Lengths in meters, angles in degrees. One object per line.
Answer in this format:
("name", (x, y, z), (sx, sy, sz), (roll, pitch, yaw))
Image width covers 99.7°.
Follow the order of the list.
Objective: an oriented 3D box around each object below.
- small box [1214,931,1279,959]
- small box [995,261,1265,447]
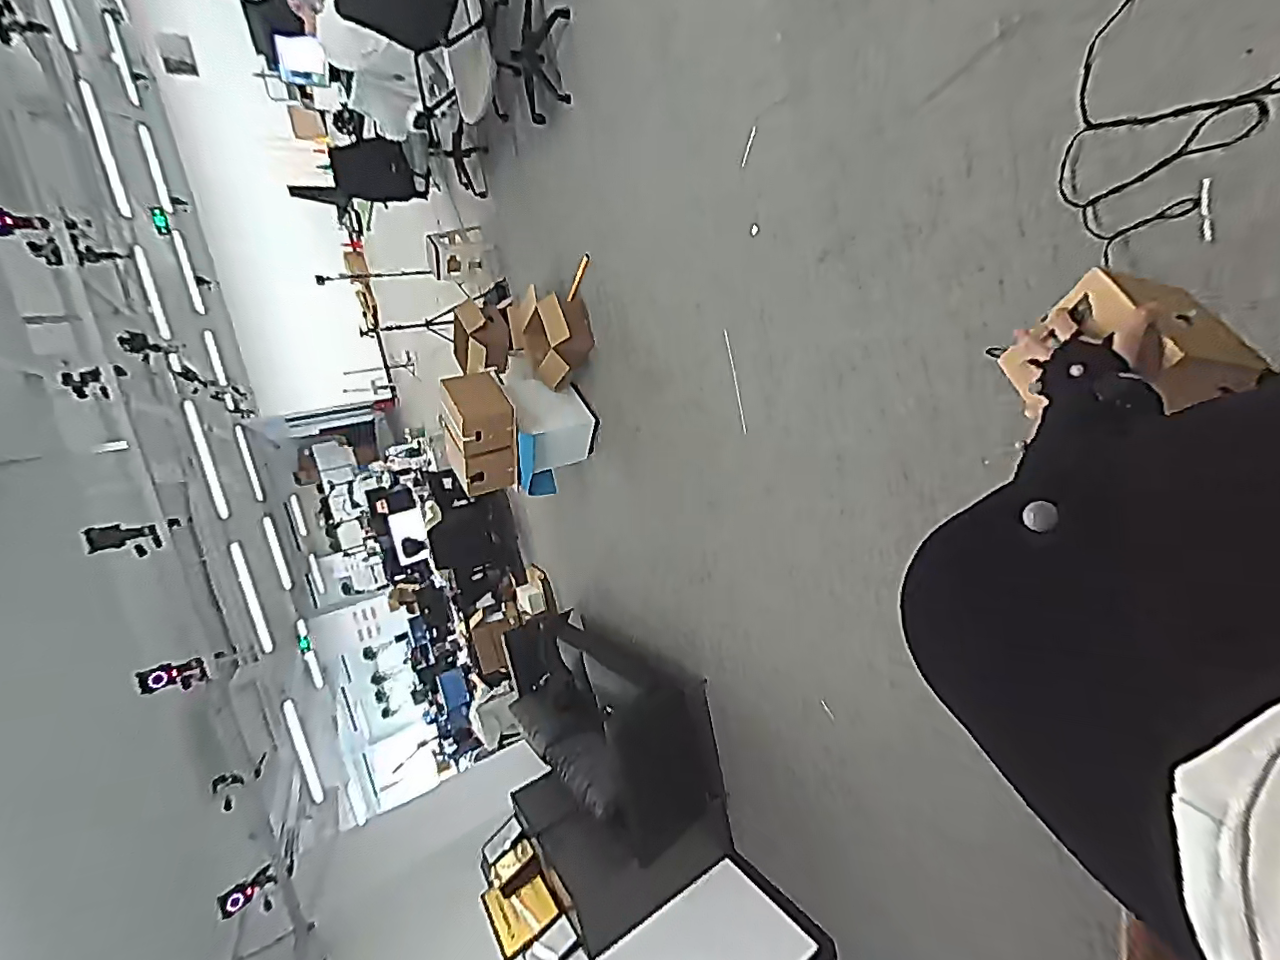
("small box", (1.130, 0.972, 0.952), (0.168, 0.176, 0.179), (6, 109, 58))
("small box", (0.641, -0.161, 0.727), (0.168, 0.176, 0.179), (114, 155, -50))
